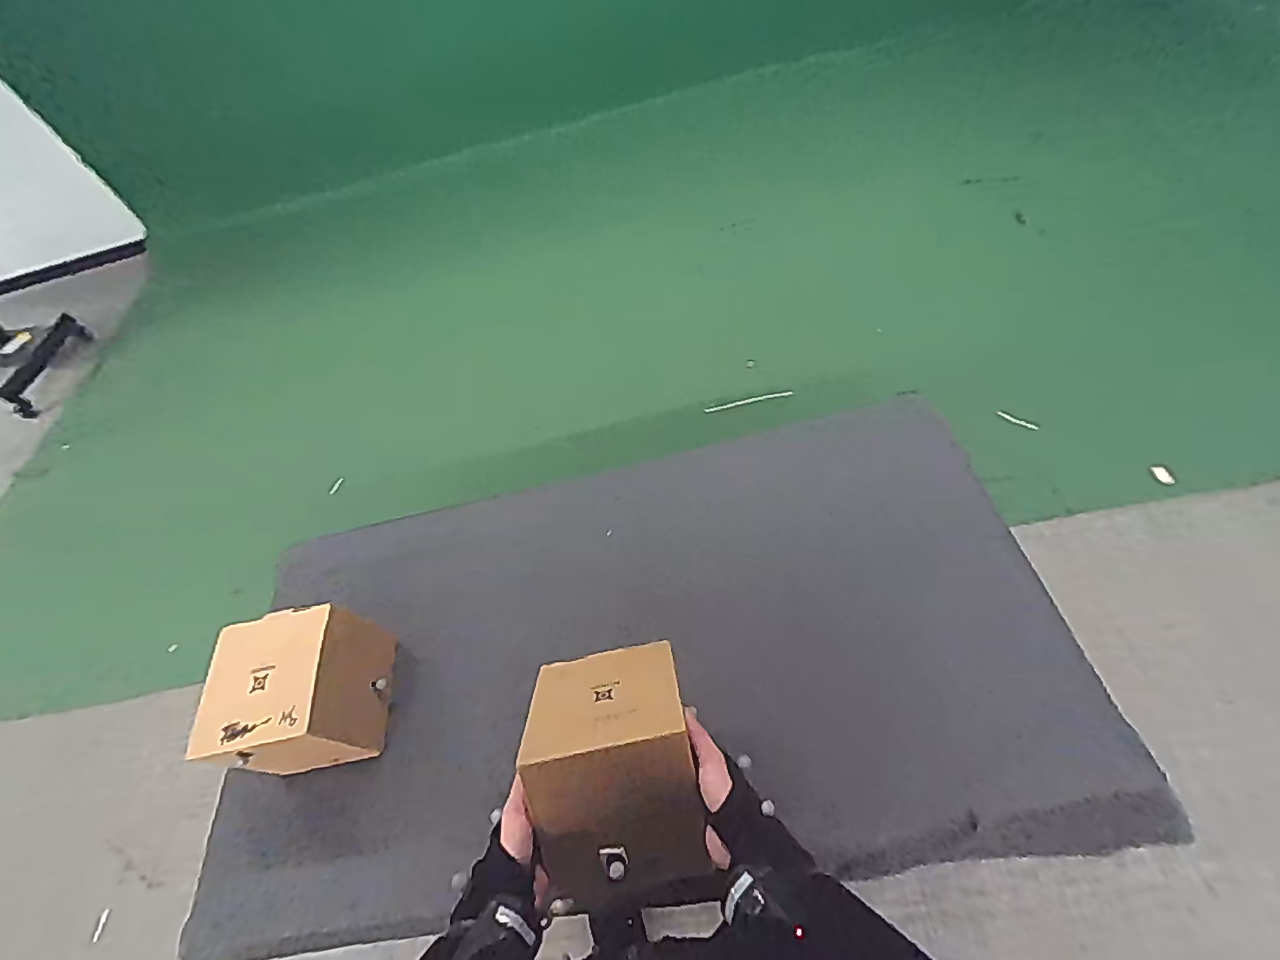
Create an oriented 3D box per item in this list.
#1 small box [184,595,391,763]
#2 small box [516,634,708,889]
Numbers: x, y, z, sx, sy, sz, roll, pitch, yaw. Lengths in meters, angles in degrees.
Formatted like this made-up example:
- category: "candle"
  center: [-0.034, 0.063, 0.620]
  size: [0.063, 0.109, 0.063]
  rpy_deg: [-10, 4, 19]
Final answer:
- category: "small box"
  center: [-0.484, 0.290, 0.777]
  size: [0.168, 0.176, 0.179]
  rpy_deg: [-13, 56, 5]
- category: "small box"
  center: [-0.027, 0.303, 0.608]
  size: [0.168, 0.176, 0.179]
  rpy_deg: [-12, 14, -1]
